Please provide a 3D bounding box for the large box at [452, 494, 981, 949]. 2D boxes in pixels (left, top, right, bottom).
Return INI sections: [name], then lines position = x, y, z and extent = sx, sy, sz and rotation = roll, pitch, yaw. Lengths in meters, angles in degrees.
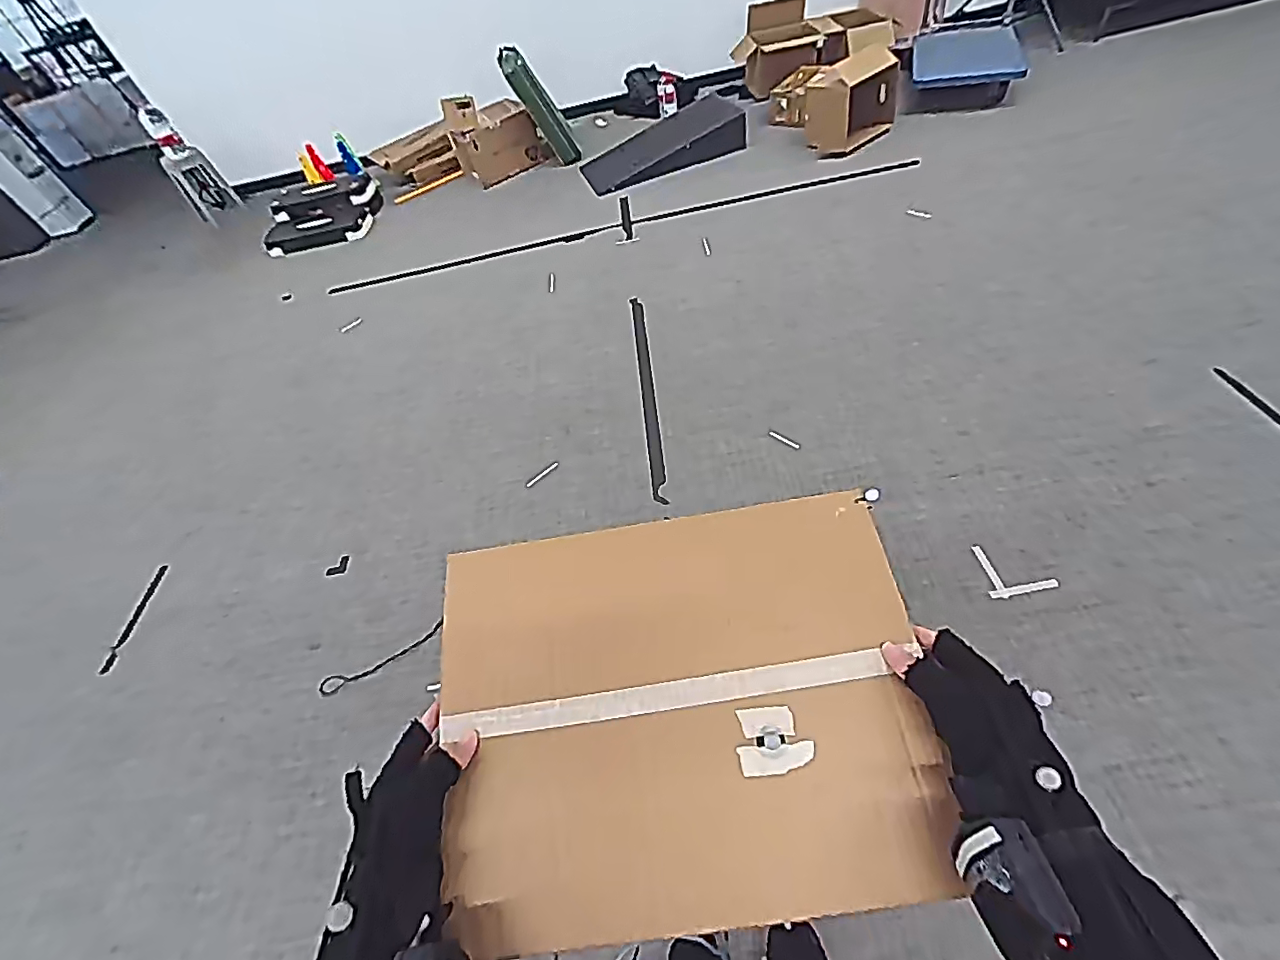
[large box]
position = 0.047, 0.249, 0.595
extent = 0.408, 0.320, 0.320
rotation = -9, 62, 1
